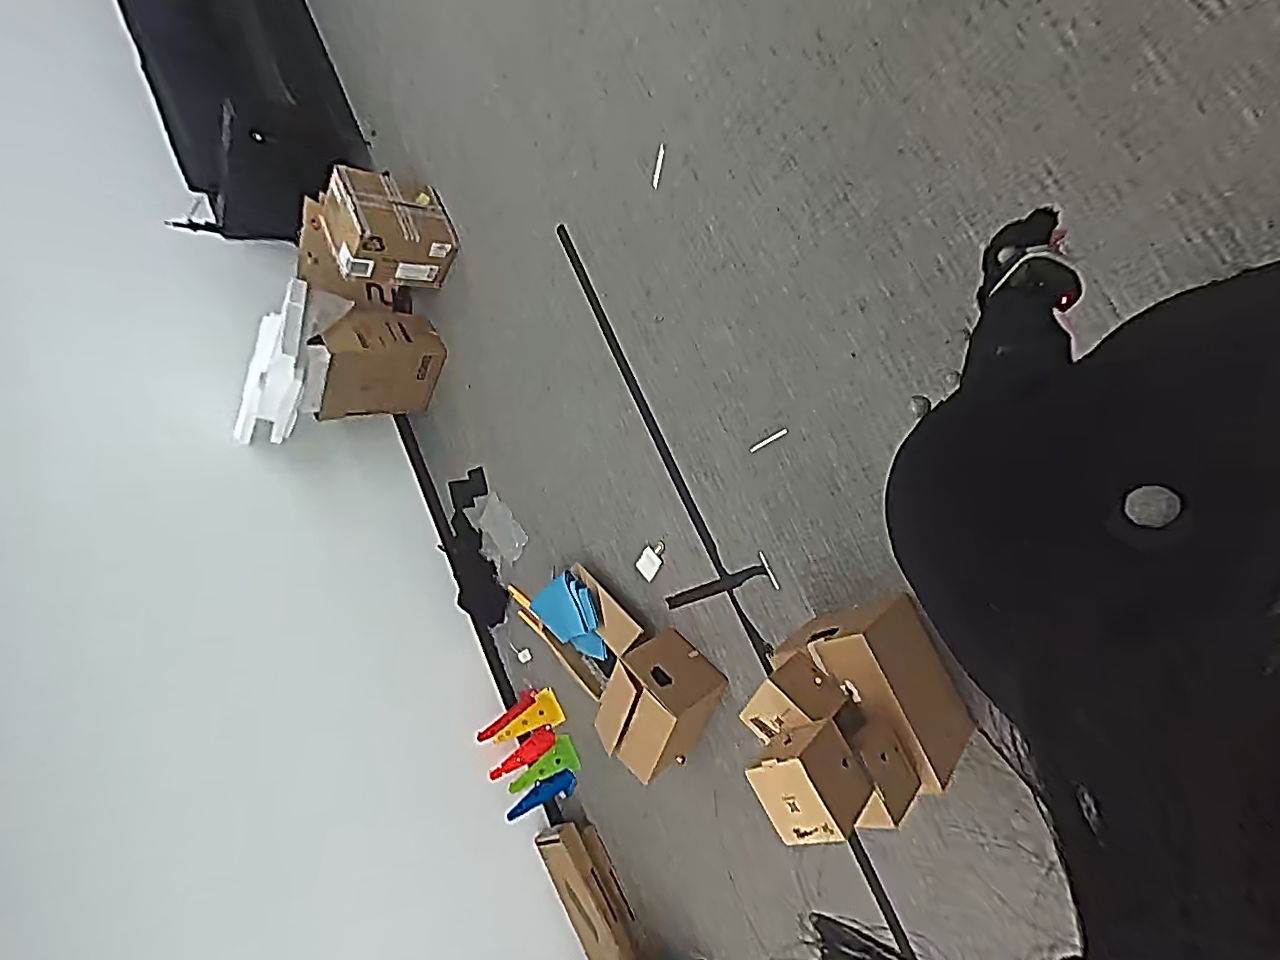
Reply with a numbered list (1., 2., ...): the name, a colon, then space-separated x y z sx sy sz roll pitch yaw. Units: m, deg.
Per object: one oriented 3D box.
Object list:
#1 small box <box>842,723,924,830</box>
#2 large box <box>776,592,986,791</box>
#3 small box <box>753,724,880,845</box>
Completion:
1. small box: 0.544 0.699 1.287 0.179 0.176 0.168 -37 72 45
2. large box: 0.658 0.578 1.489 0.320 0.320 0.408 -36 74 43
3. small box: 0.391 0.663 1.194 0.168 0.176 0.179 -42 71 42
